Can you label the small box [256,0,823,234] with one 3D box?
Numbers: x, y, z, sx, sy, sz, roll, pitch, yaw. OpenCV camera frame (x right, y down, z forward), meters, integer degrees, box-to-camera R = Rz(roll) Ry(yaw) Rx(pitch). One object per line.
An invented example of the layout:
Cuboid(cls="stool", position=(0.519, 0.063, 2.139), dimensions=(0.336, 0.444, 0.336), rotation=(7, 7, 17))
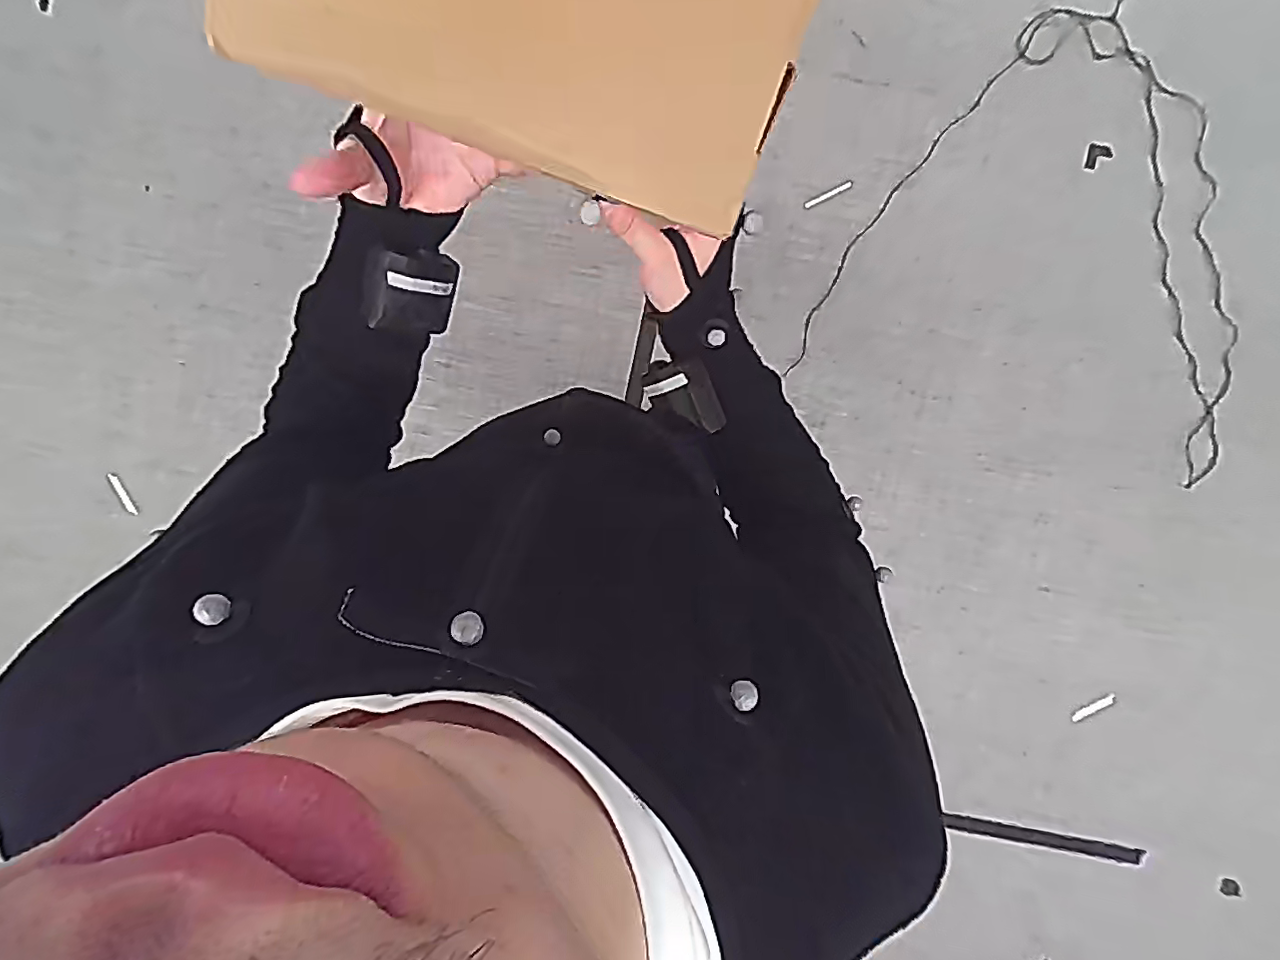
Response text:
Cuboid(cls="small box", position=(-0.033, -0.223, 0.227), dimensions=(0.179, 0.176, 0.168), rotation=(8, 118, -20))
